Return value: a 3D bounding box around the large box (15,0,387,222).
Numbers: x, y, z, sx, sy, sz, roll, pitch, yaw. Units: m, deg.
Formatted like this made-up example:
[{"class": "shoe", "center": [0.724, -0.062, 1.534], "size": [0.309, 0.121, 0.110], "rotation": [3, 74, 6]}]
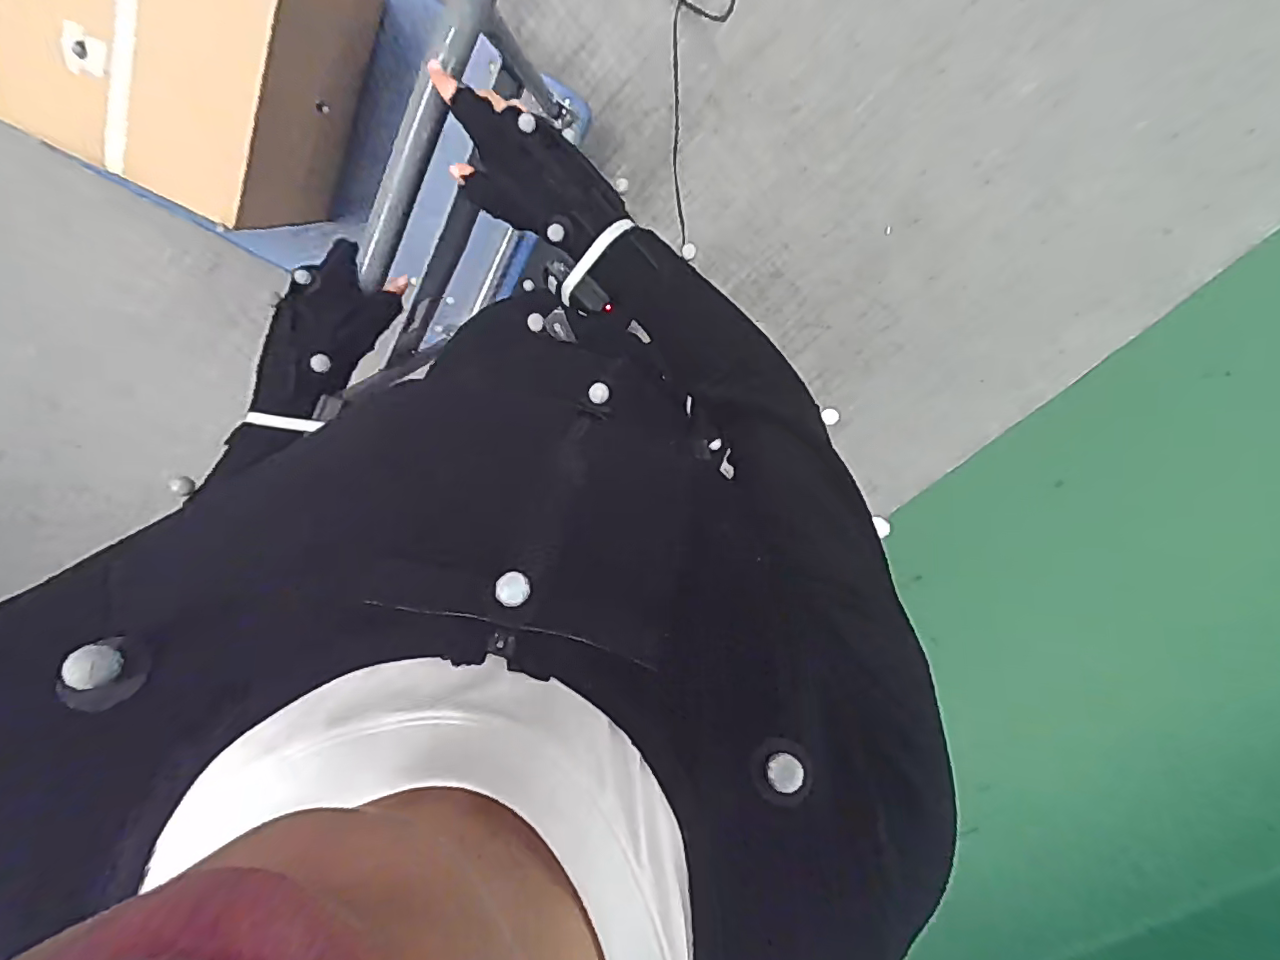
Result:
[{"class": "large box", "center": [-0.637, -0.676, 0.831], "size": [0.320, 0.320, 0.408], "rotation": [24, 114, -15]}]
